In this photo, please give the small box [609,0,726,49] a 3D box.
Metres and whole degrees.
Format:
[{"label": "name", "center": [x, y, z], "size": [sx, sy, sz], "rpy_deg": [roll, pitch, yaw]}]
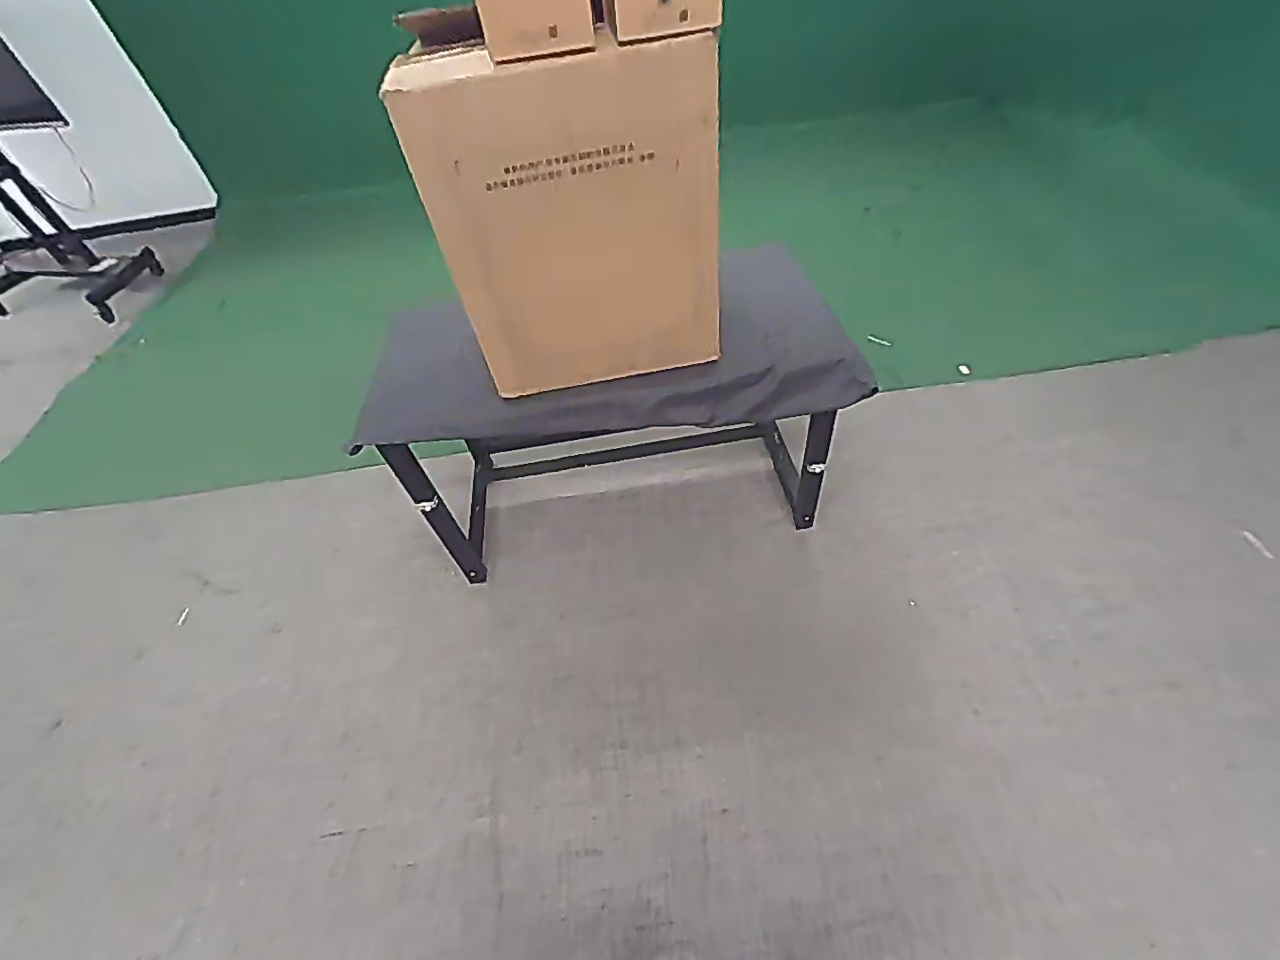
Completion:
[{"label": "small box", "center": [0.035, -0.793, 0.836], "size": [0.168, 0.176, 0.179], "rpy_deg": [-10, 50, -1]}]
